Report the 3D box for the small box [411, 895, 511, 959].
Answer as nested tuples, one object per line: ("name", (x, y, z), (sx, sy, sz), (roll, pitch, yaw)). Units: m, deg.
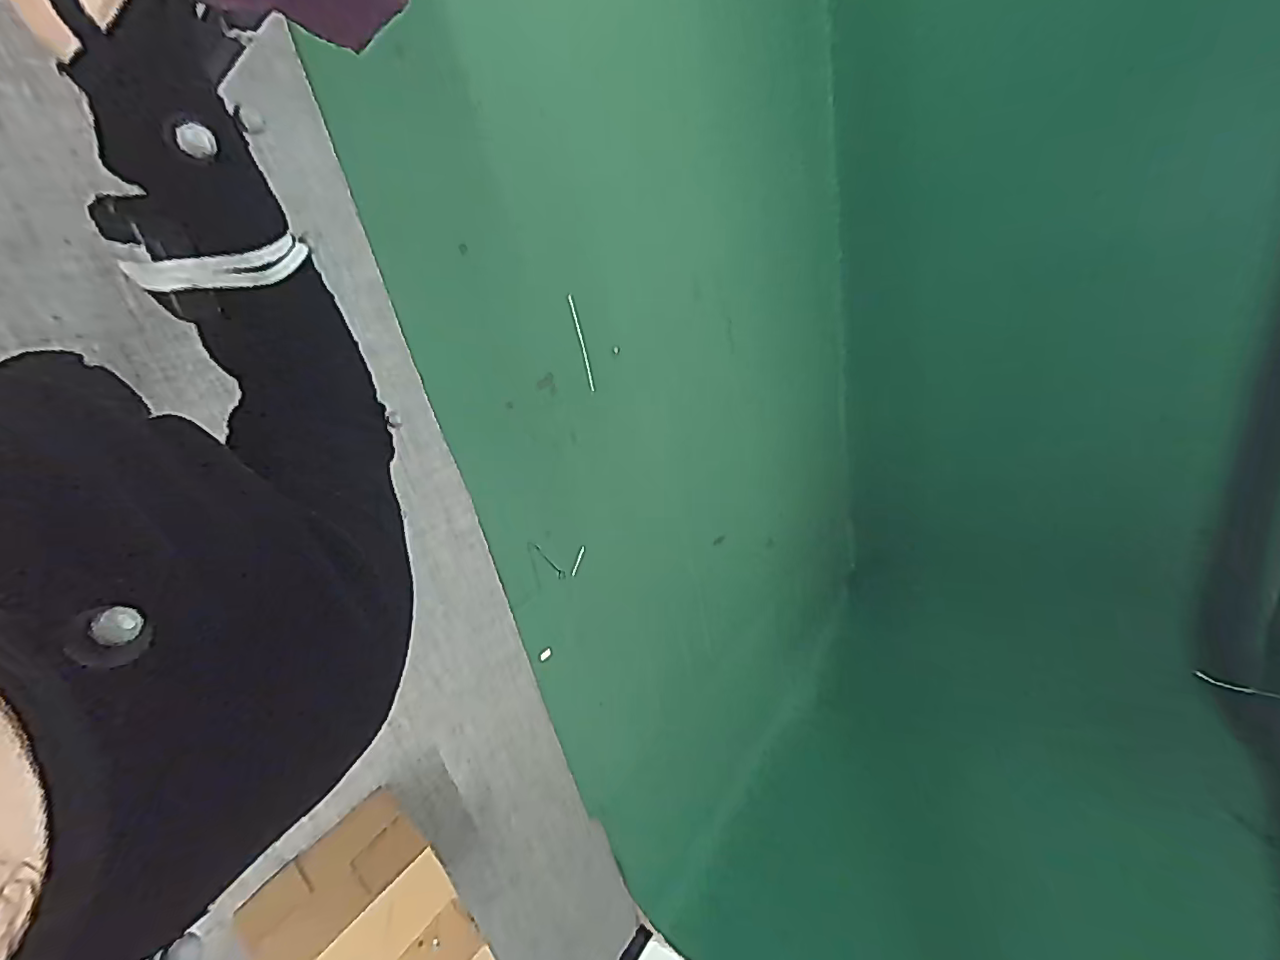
("small box", (-0.483, 1.286, 1.464), (0.168, 0.176, 0.179), (-36, 126, -41))
